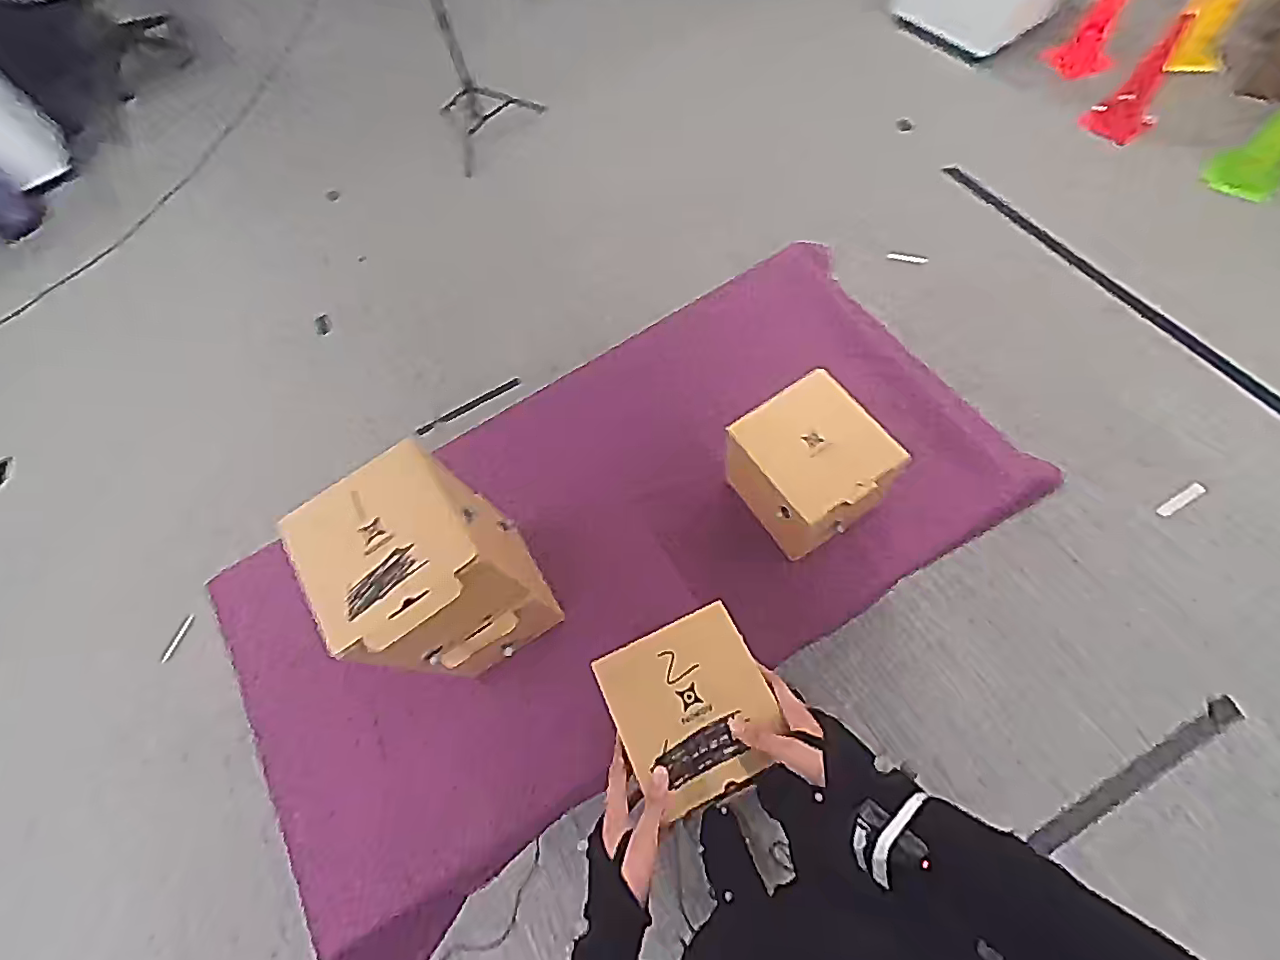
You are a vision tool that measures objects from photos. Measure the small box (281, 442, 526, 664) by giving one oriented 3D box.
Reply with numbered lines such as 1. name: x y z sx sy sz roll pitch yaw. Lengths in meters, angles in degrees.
1. small box: -0.258 0.095 0.626 0.168 0.176 0.179 -36 66 -9

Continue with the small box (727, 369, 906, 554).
1. small box: 0.240 -0.019 0.790 0.168 0.176 0.179 -34 67 -7

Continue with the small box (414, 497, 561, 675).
1. small box: -0.237 0.160 0.776 0.168 0.176 0.179 -32 67 -6
